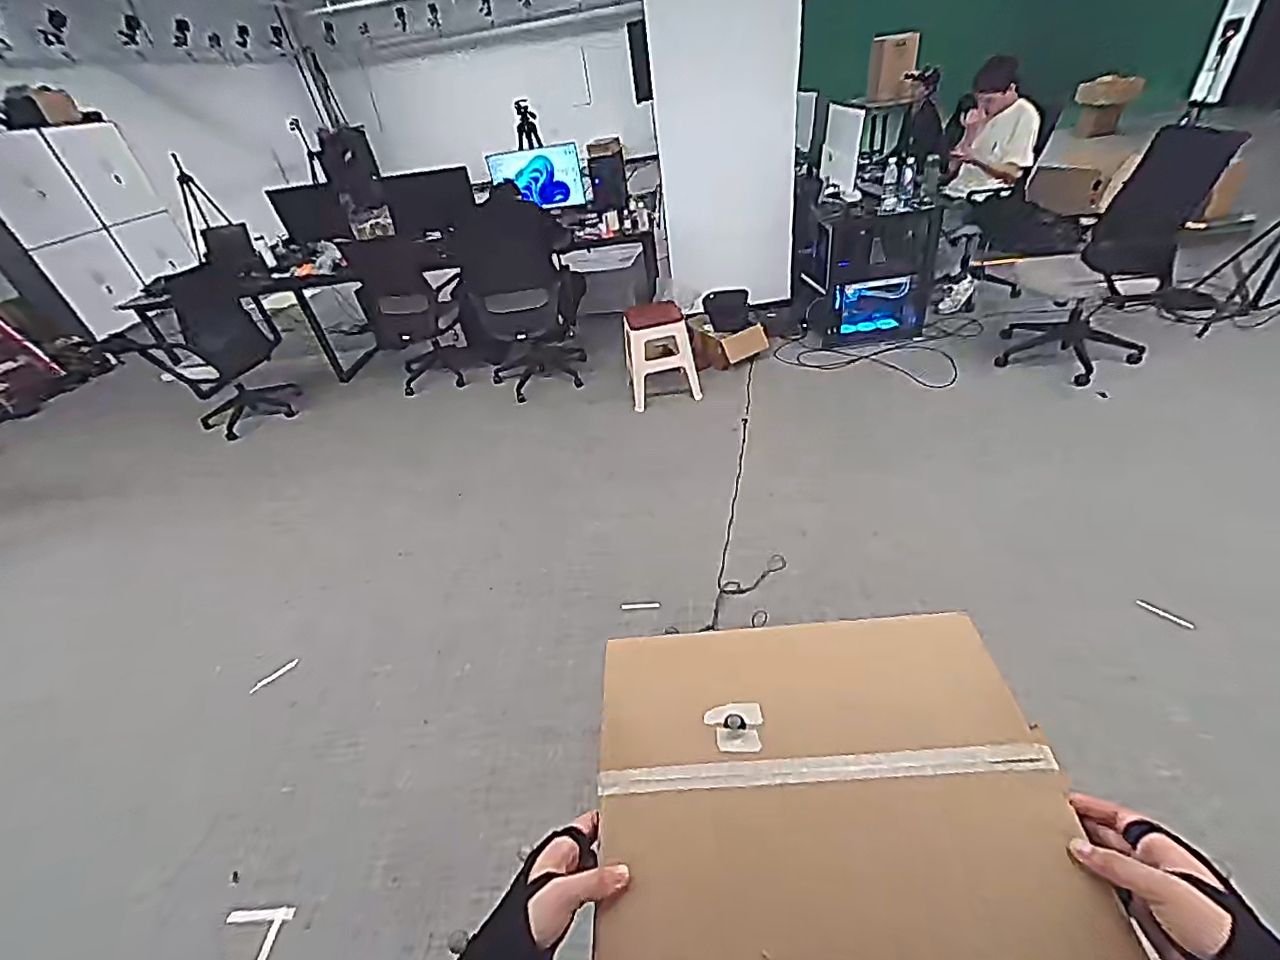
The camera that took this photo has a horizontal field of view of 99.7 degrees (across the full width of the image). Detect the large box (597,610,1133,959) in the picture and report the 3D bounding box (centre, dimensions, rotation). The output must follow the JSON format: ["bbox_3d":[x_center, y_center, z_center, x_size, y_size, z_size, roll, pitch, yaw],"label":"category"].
[{"bbox_3d":[0.185,0.383,0.612,0.408,0.320,0.320,-7,41,6],"label":"large box"}]
